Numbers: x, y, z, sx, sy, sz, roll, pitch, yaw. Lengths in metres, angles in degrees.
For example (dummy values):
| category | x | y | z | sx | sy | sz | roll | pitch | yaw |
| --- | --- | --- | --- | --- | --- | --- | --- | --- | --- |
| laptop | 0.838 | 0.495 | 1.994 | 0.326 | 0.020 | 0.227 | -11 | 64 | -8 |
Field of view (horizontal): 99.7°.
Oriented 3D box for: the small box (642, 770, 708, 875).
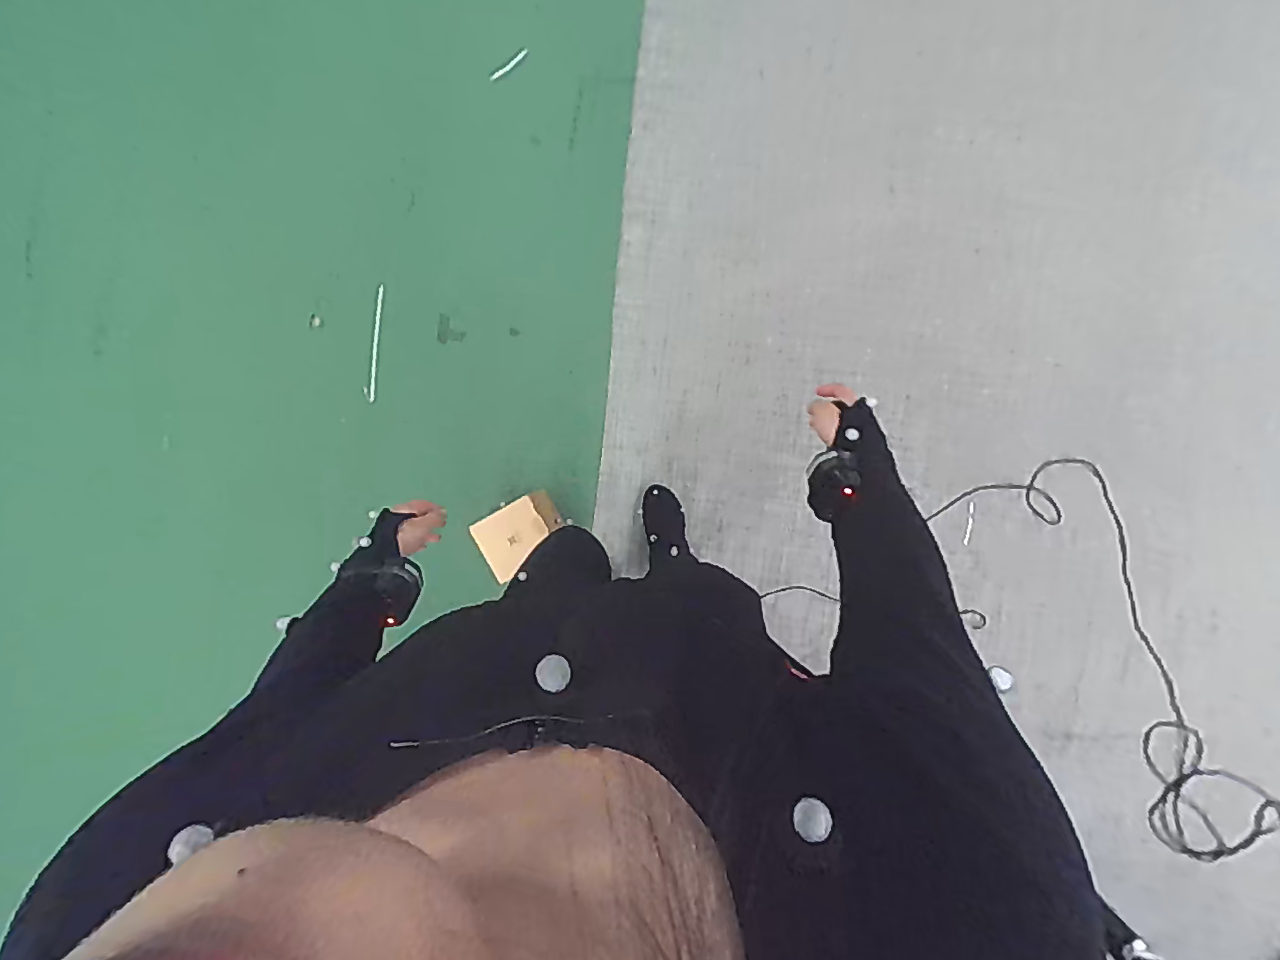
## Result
| category | x | y | z | sx | sy | sz | roll | pitch | yaw |
| --- | --- | --- | --- | --- | --- | --- | --- | --- | --- |
| small box | 0.091 | 0.894 | 1.427 | 0.168 | 0.176 | 0.179 | 1 | 93 | 4 |

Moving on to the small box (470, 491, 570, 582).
| category | x | y | z | sx | sy | sz | roll | pitch | yaw |
| --- | --- | --- | --- | --- | --- | --- | --- | --- | --- |
| small box | -0.304 | 0.141 | 1.413 | 0.179 | 0.176 | 0.168 | -30 | 91 | 4 |
